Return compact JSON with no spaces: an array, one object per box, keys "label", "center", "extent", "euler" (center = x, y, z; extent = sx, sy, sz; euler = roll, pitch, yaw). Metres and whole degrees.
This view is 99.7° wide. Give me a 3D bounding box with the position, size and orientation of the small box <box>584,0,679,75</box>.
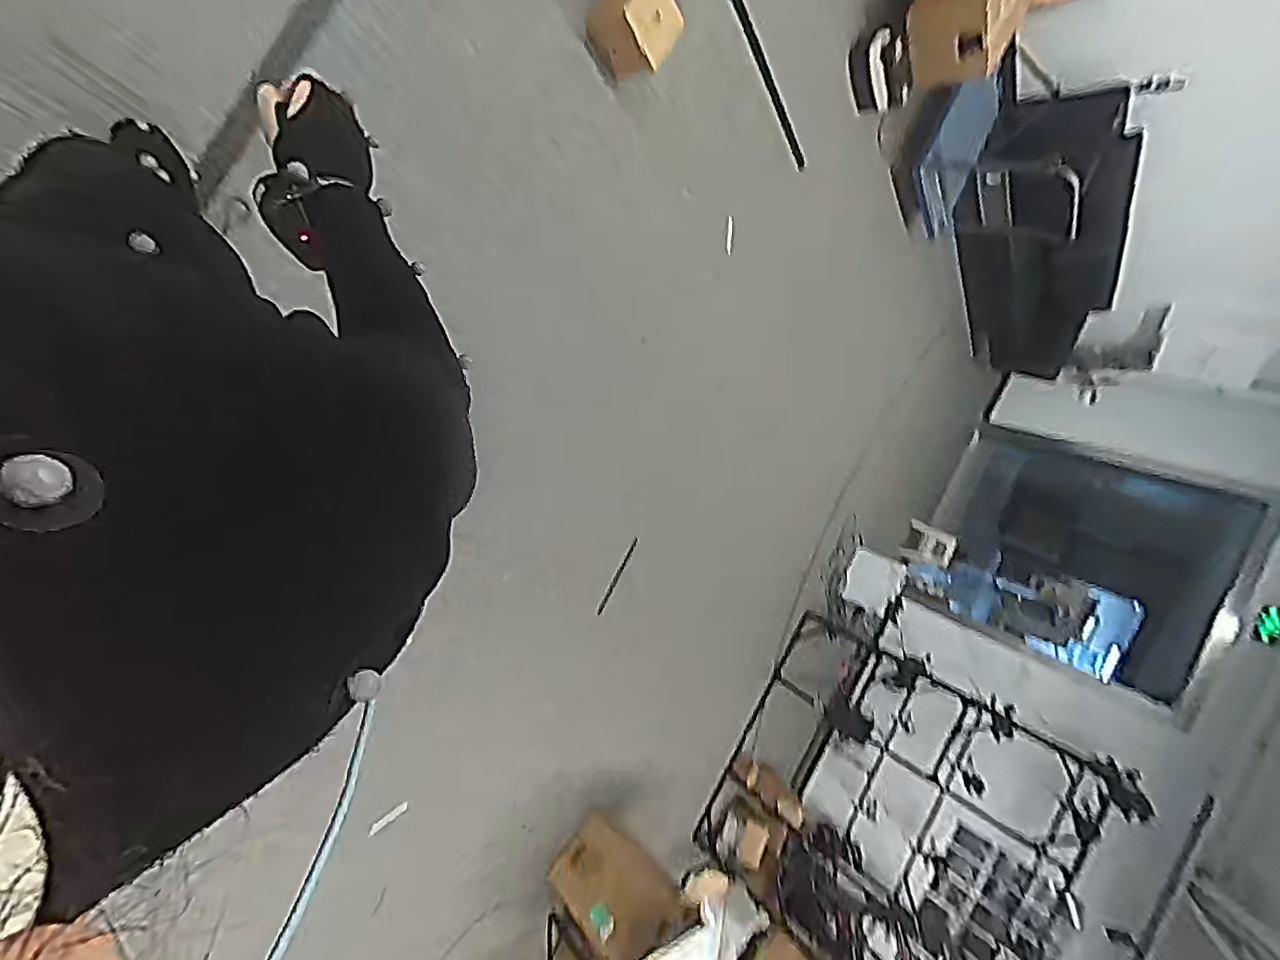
[{"label":"small box","center":[-0.027,-1.286,1.516],"extent":[0.168,0.176,0.179],"euler":[35,83,-50]}]
